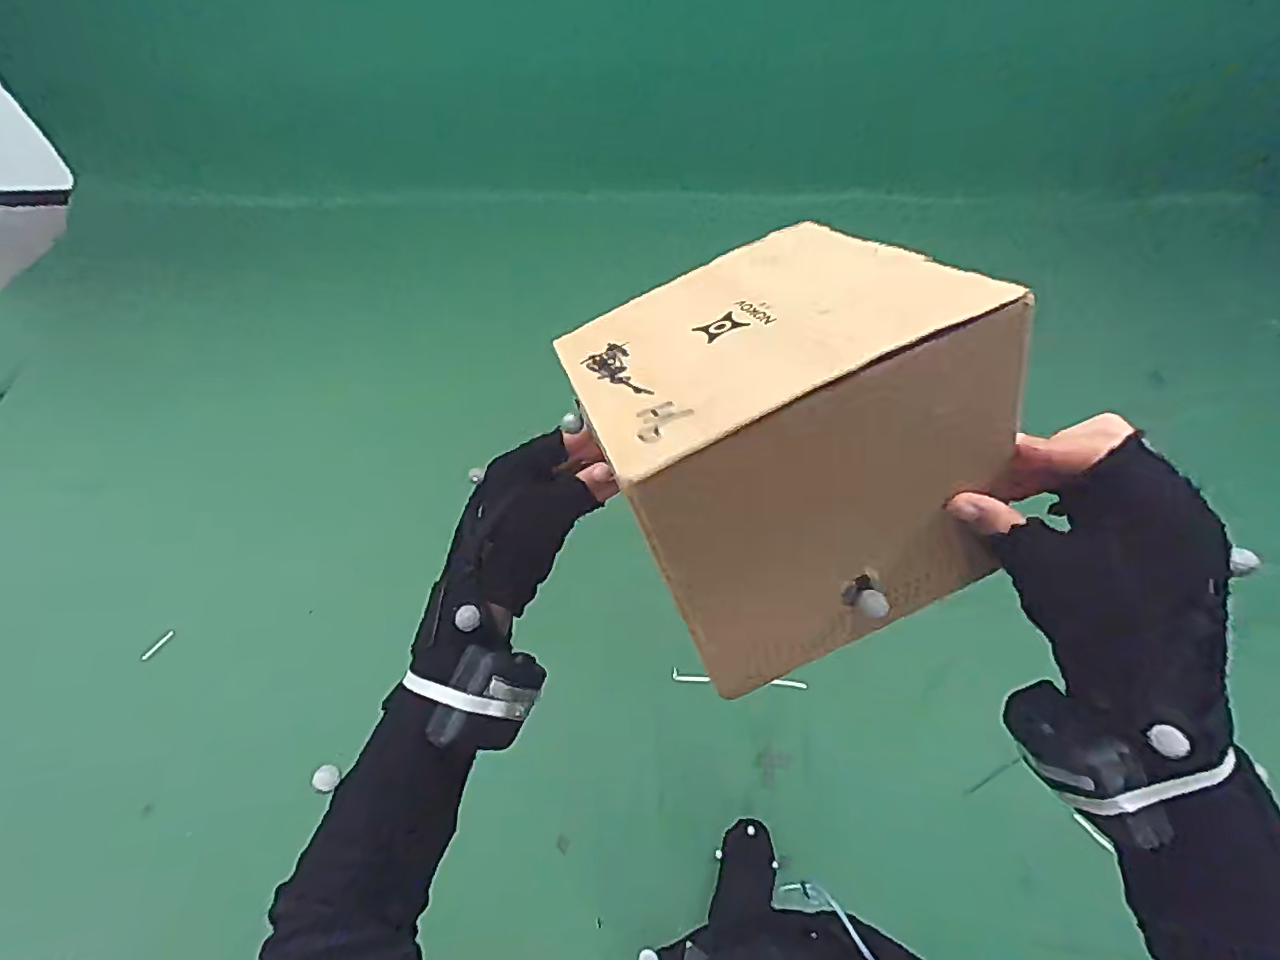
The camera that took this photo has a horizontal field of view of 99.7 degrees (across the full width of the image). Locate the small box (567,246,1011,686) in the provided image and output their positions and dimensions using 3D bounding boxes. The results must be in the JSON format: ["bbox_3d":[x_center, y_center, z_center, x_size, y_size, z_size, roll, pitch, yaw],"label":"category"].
[{"bbox_3d":[0.076,-0.015,0.327,0.179,0.176,0.168,-24,34,-3],"label":"small box"}]
